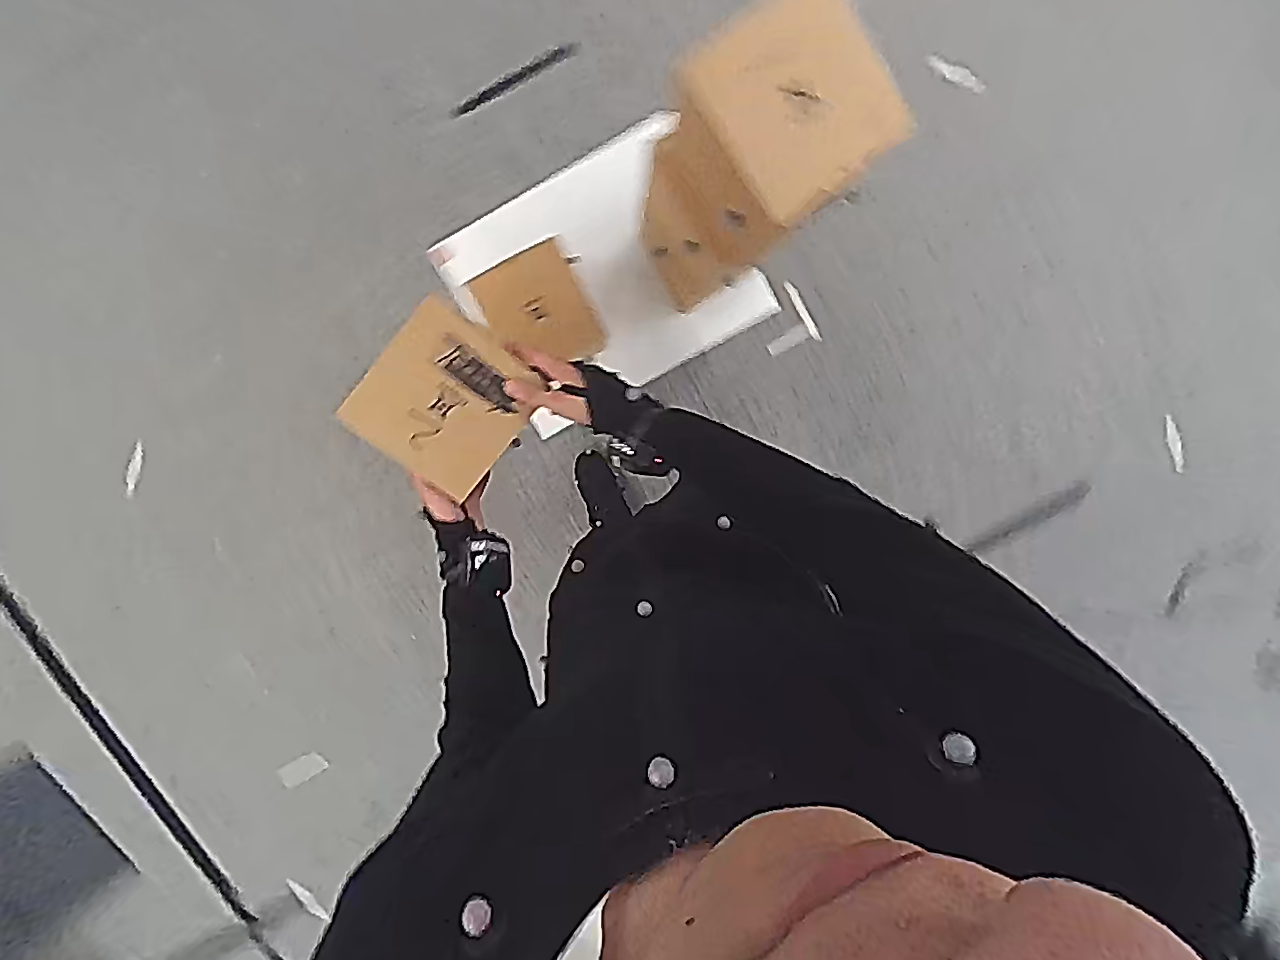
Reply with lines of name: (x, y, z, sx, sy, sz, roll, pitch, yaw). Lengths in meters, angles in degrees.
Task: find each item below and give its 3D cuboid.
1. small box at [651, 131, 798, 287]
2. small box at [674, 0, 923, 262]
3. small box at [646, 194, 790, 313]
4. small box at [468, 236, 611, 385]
small box: (0.128, -0.387, 0.747, 0.168, 0.176, 0.179, -30, 98, 1)
small box: (0.155, -0.363, 0.587, 0.168, 0.176, 0.179, -35, 97, 1)
small box: (0.120, -0.407, 0.911, 0.168, 0.176, 0.179, -30, 97, 2)
small box: (-0.158, -0.272, 0.913, 0.168, 0.176, 0.179, -28, 97, 0)
